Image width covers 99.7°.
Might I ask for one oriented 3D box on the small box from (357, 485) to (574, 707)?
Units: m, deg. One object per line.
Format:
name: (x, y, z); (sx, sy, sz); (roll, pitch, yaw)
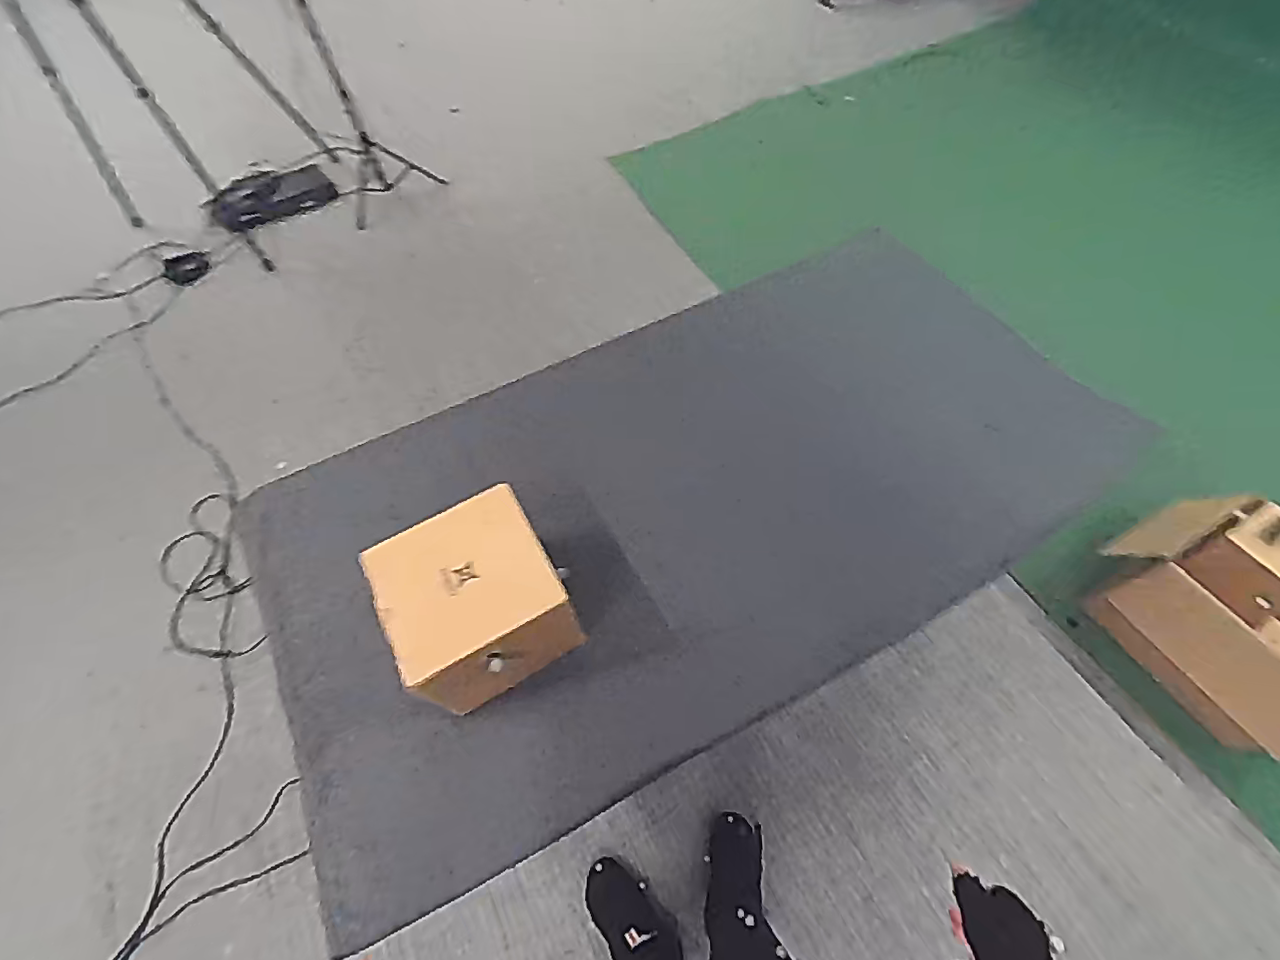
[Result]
small box: (-0.190, 0.141, 0.638); (0.179, 0.176, 0.168); (-29, 62, -13)
